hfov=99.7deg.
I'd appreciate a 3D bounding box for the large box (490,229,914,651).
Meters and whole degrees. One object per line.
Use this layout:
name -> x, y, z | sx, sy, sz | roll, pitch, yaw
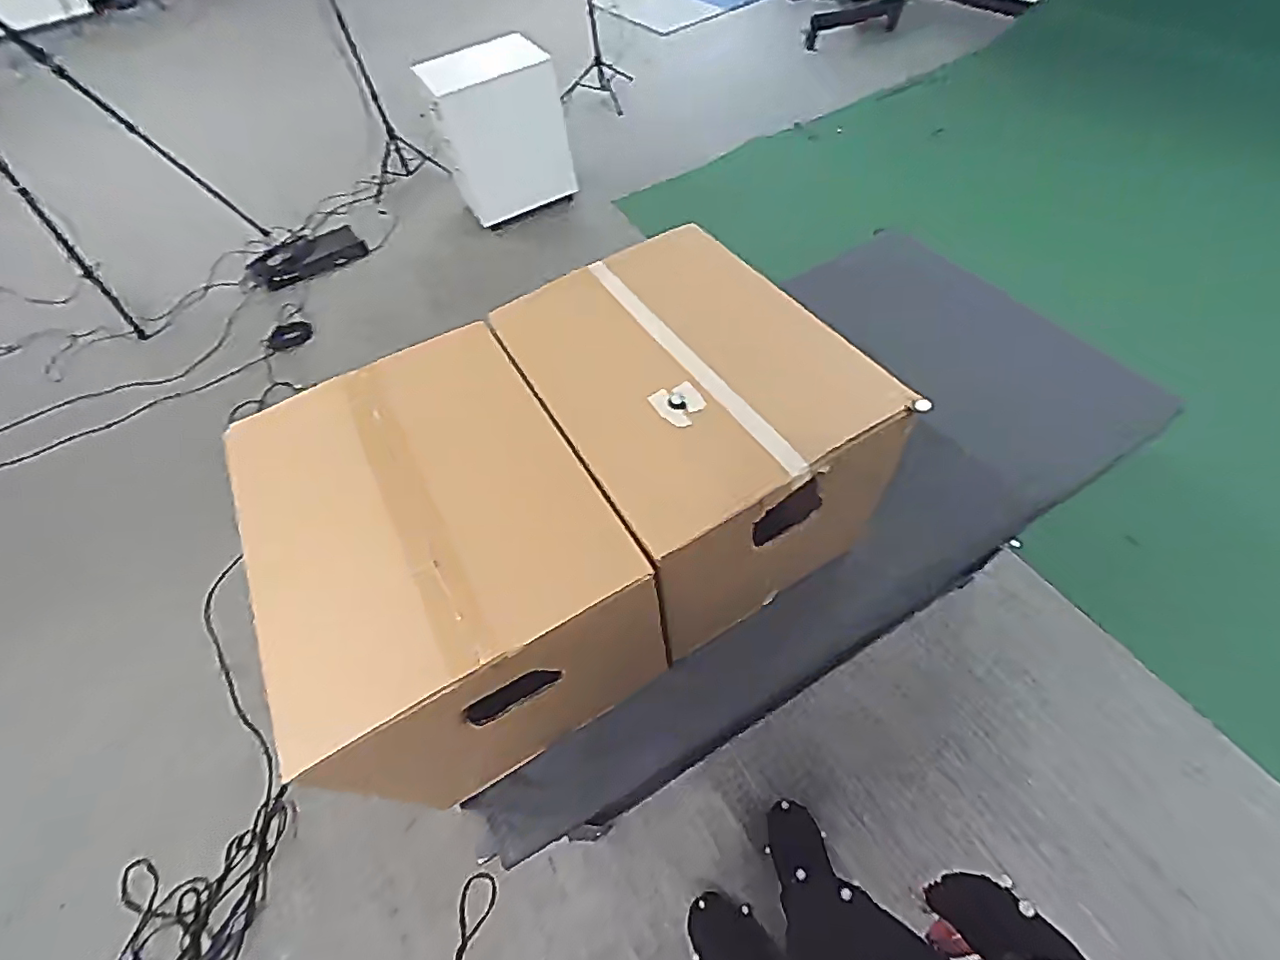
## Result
large box -> 0.055, -0.056, 0.727 | 0.320, 0.320, 0.408 | -30, 59, -12
